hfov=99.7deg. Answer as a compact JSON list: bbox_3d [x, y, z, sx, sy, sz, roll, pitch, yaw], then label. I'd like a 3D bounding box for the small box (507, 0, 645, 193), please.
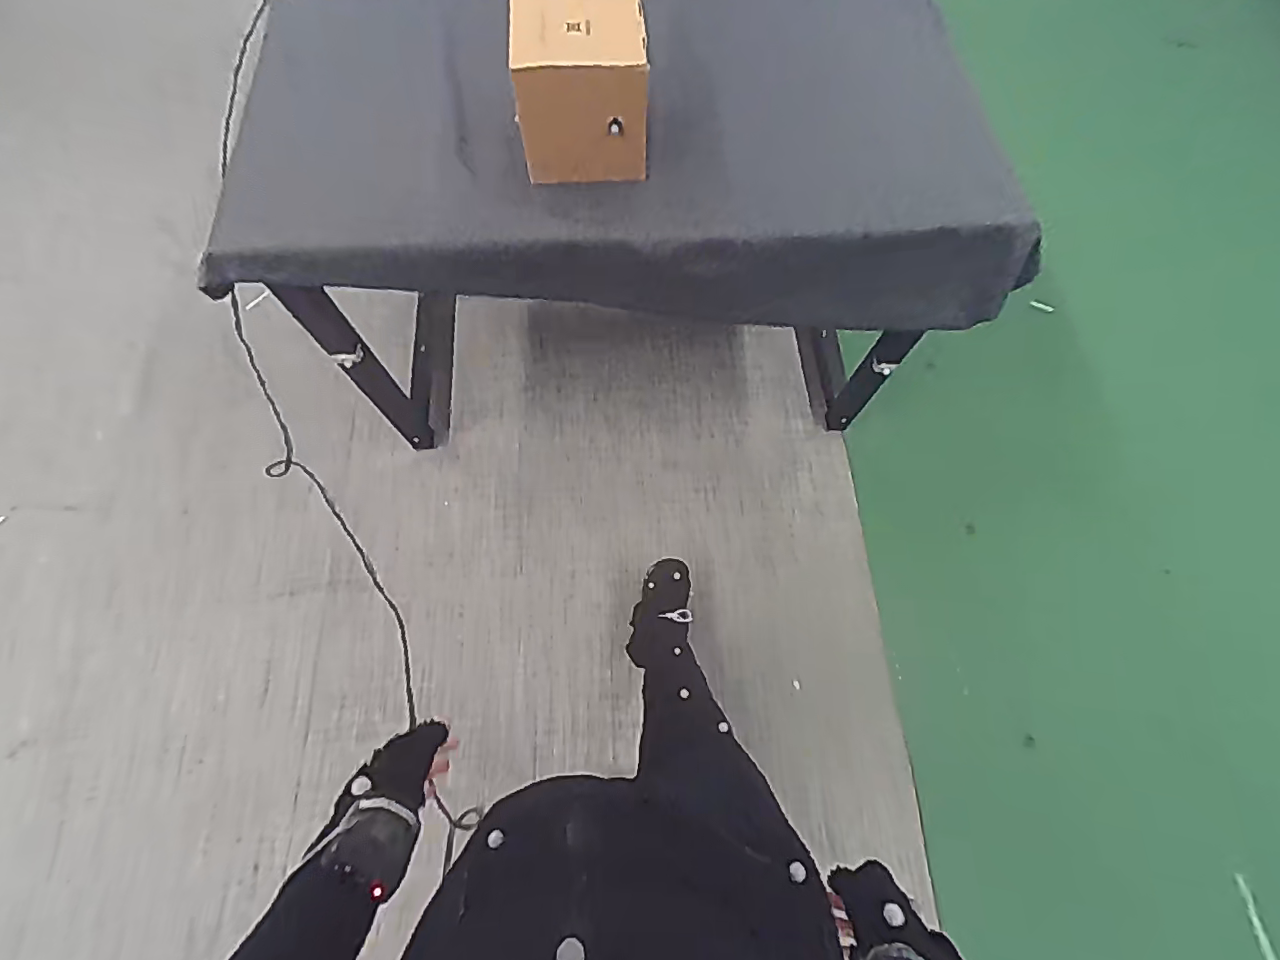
[{"bbox_3d":[-0.087,-0.548,0.785,0.179,0.176,0.168,-5,67,-1],"label":"small box"}]
